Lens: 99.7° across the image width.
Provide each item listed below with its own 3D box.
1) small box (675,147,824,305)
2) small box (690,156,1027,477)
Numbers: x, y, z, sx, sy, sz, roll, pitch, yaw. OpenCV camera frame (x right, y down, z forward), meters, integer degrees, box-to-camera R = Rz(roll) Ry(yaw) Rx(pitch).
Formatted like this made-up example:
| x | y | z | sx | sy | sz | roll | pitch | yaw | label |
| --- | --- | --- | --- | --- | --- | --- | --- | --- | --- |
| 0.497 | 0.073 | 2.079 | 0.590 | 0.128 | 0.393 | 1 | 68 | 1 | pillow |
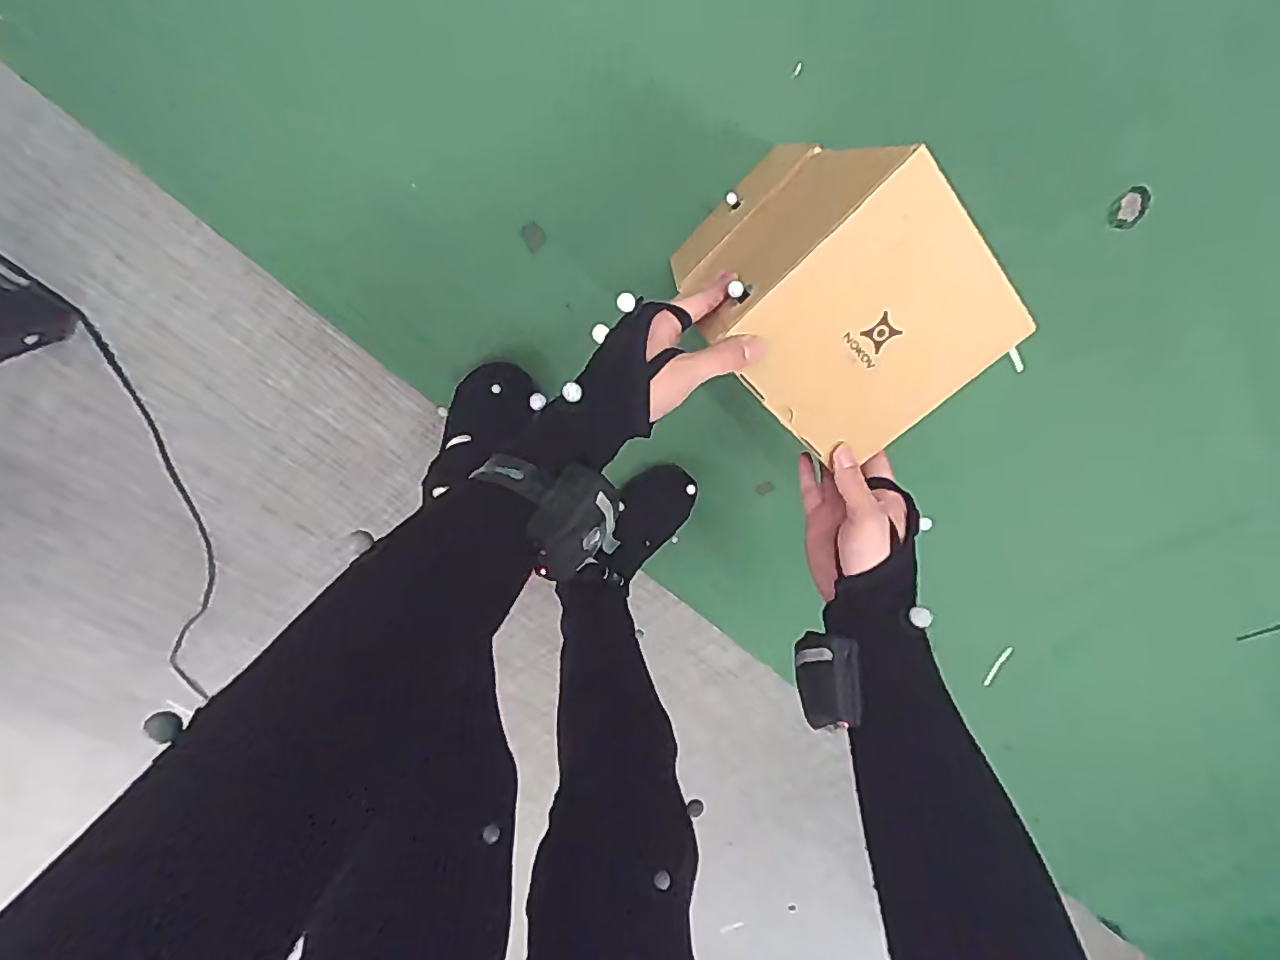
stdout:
| x | y | z | sx | sy | sz | roll | pitch | yaw | label |
| --- | --- | --- | --- | --- | --- | --- | --- | --- | --- |
| 0.155 | -0.240 | 0.612 | 0.168 | 0.176 | 0.179 | 40 | 113 | -22 | small box |
| 0.162 | -0.143 | 0.457 | 0.168 | 0.176 | 0.179 | 39 | 112 | -25 | small box |
